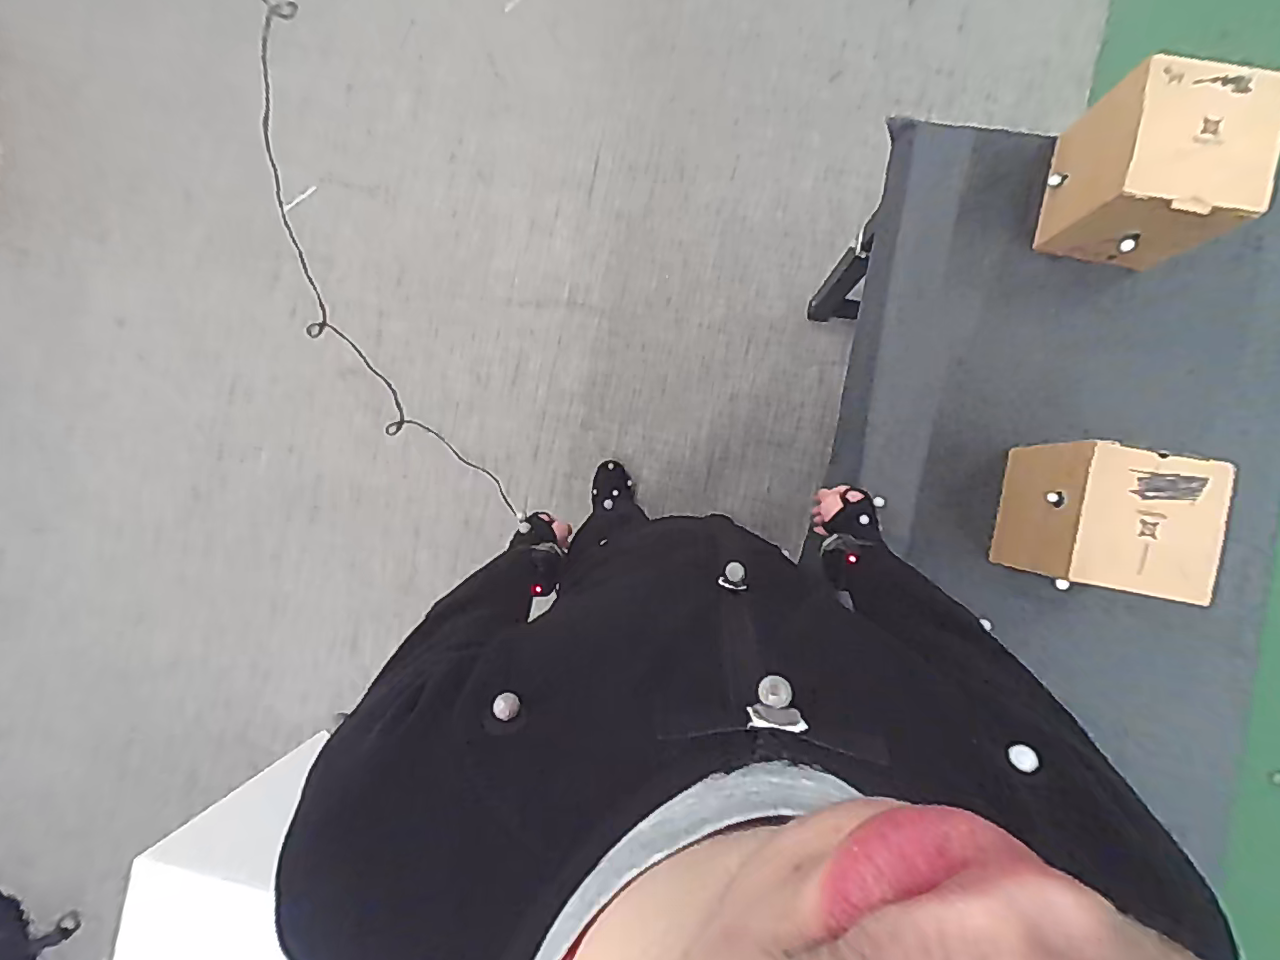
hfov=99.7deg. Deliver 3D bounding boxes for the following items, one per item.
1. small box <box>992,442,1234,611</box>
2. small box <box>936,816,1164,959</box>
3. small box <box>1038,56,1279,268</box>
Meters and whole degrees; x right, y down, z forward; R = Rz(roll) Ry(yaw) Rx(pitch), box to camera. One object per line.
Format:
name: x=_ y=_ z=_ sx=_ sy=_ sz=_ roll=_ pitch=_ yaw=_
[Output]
small box: x=0.611 y=0.055 z=0.723 sx=0.168 sy=0.176 sz=0.179 roll=11 pitch=91 yaw=4
small box: x=0.526 y=0.600 z=0.723 sx=0.168 sy=0.176 sz=0.179 roll=12 pitch=89 yaw=3
small box: x=0.680 y=-0.407 z=0.724 sx=0.168 sy=0.176 sz=0.179 roll=13 pitch=91 yaw=3
